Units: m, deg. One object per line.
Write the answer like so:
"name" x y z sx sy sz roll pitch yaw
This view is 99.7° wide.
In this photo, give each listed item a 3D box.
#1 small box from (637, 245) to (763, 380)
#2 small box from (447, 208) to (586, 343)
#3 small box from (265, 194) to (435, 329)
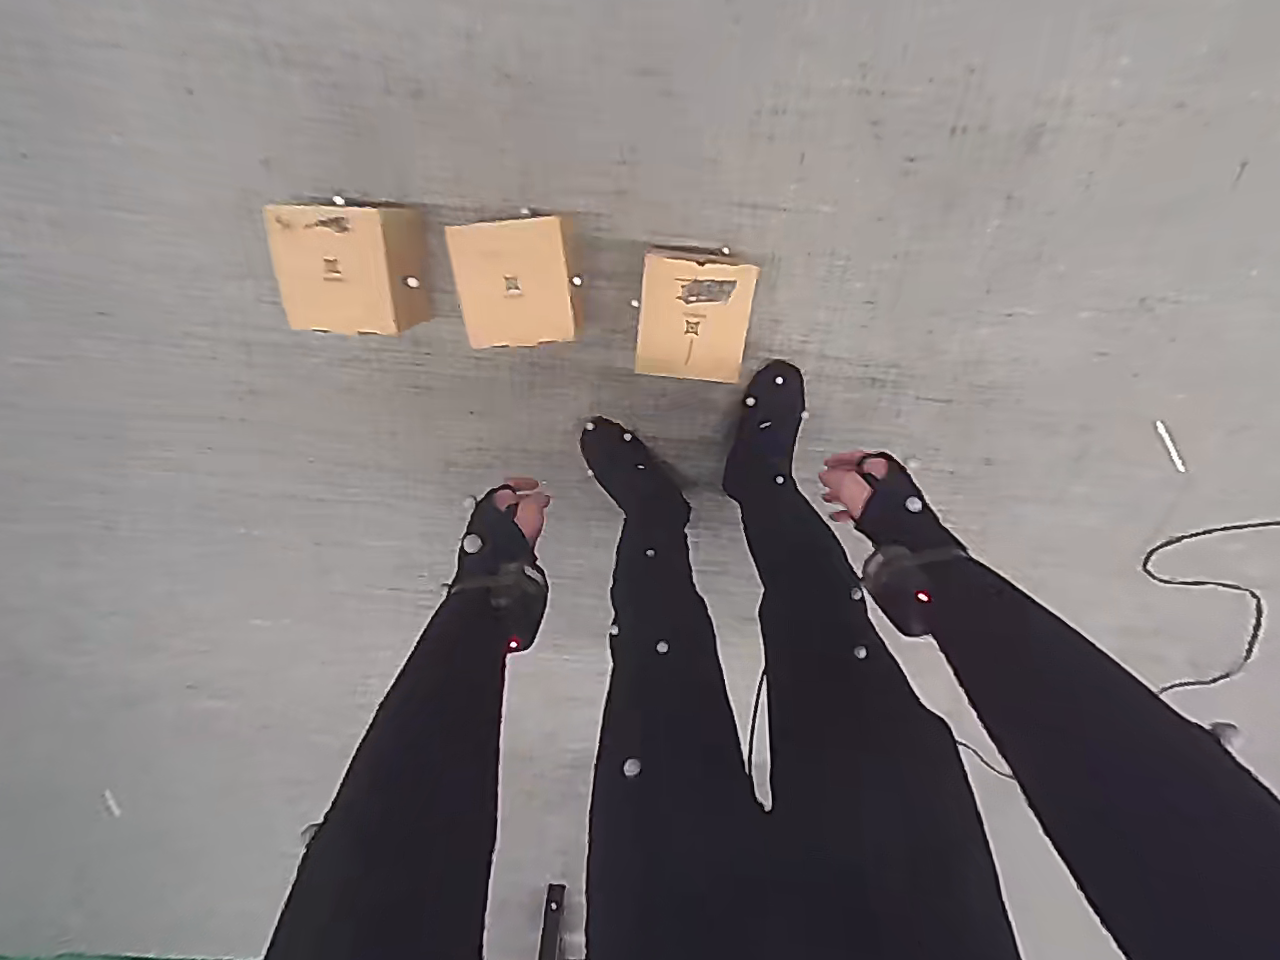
"small box" 0.086 -0.276 0.871 0.168 0.176 0.179 6 116 -1
"small box" -0.181 -0.325 0.857 0.168 0.176 0.179 -5 113 2
"small box" -0.437 -0.346 0.852 0.168 0.176 0.179 3 116 0
